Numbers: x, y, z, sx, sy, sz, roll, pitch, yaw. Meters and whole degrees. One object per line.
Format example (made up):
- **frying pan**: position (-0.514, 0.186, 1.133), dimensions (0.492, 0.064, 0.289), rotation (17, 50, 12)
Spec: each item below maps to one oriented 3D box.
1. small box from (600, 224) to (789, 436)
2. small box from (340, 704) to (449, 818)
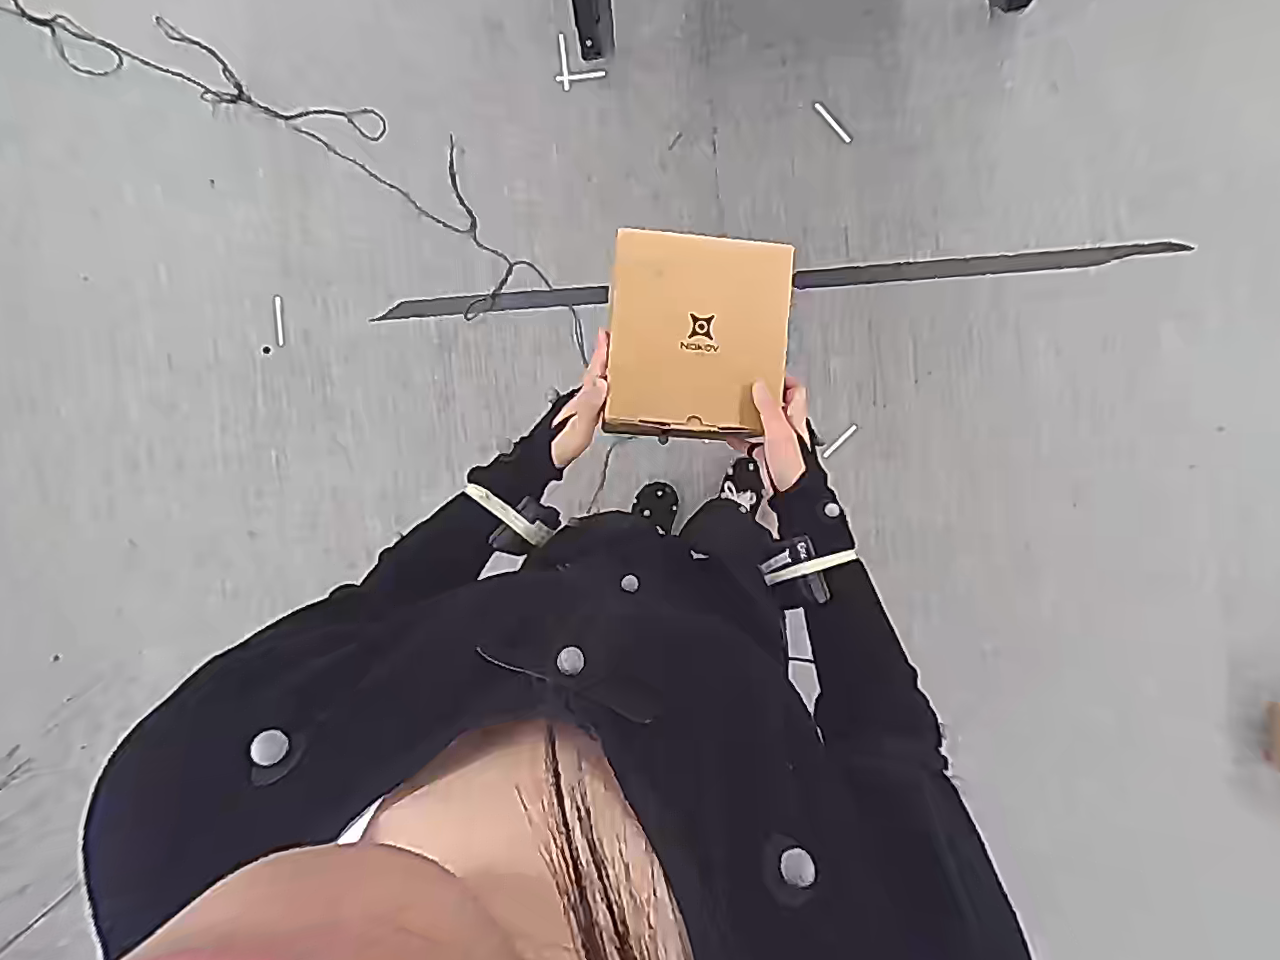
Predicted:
- **small box**: position (0.045, -0.143, 0.575), dimensions (0.168, 0.176, 0.179), rotation (3, 93, -5)
- **small box**: position (-0.655, 0.752, 1.467), dimensions (0.168, 0.176, 0.179), rotation (40, 92, 2)
